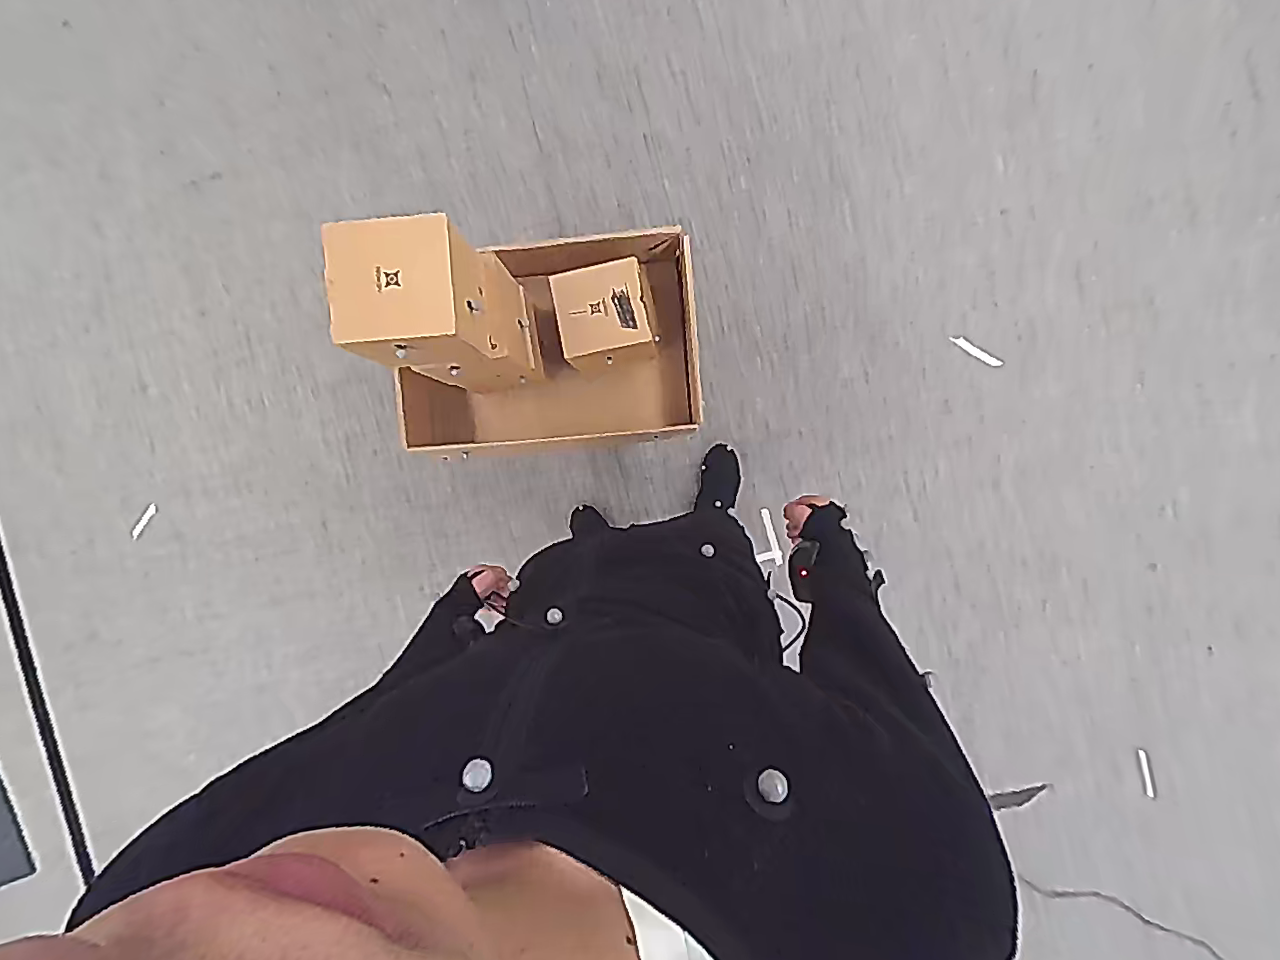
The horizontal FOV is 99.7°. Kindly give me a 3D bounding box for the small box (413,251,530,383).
[{"bbox_3d":[-0.303,-0.282,0.969,0.168,0.176,0.179,-7,91,2],"label":"small box"}]

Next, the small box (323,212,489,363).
[{"bbox_3d":[-0.333,-0.275,0.807,0.179,0.176,0.168,-5,92,2],"label":"small box"}]
